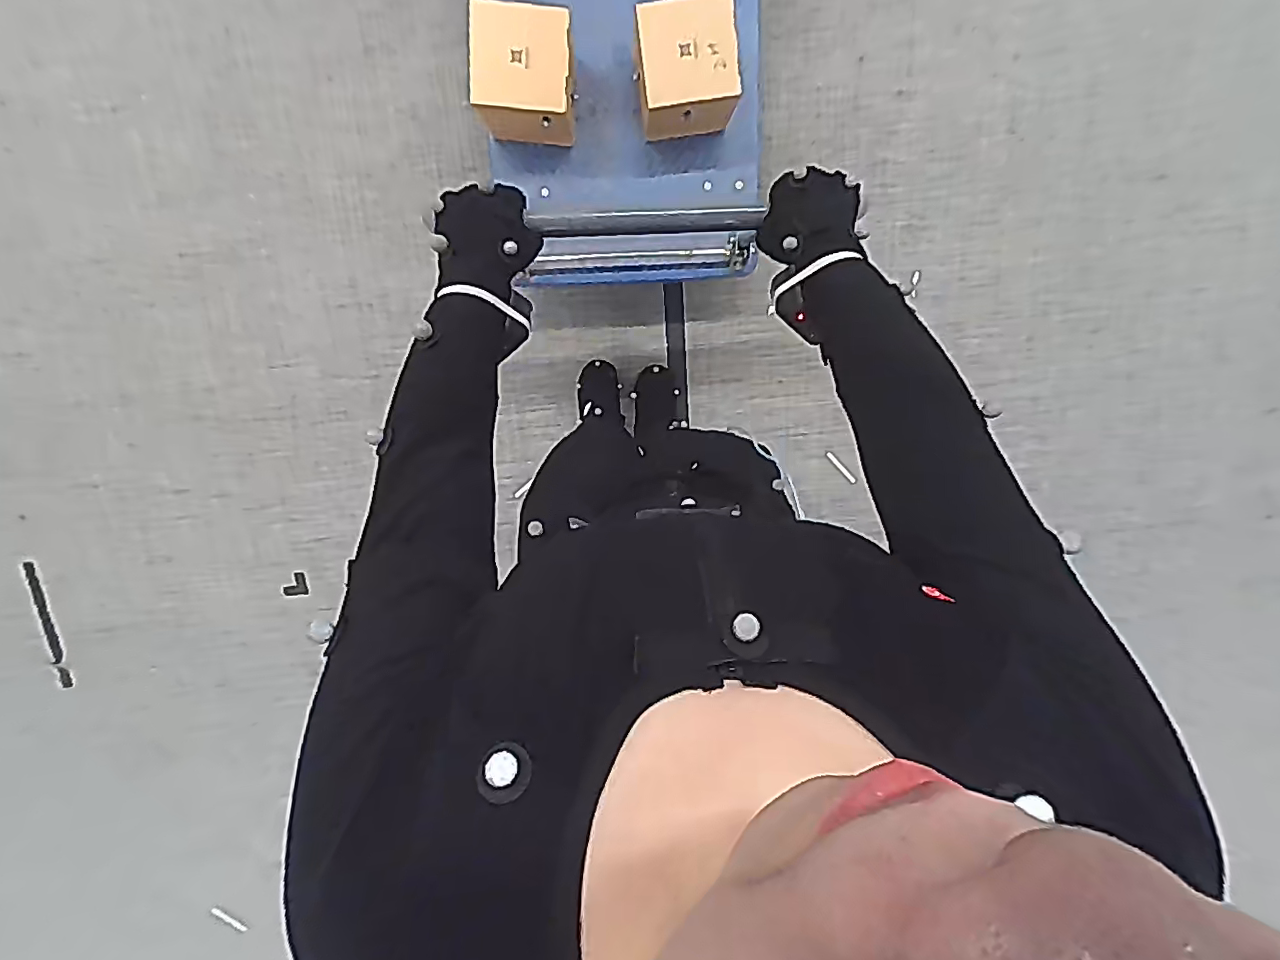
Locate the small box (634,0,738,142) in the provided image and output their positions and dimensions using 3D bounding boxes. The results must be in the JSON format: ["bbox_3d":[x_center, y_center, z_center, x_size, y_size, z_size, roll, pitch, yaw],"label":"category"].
[{"bbox_3d":[0.084,-0.787,1.054,0.179,0.176,0.168,-8,104,0],"label":"small box"}]

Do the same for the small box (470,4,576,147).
[{"bbox_3d":[-0.220,-0.770,1.047,0.179,0.176,0.168,3,103,-4],"label":"small box"}]
